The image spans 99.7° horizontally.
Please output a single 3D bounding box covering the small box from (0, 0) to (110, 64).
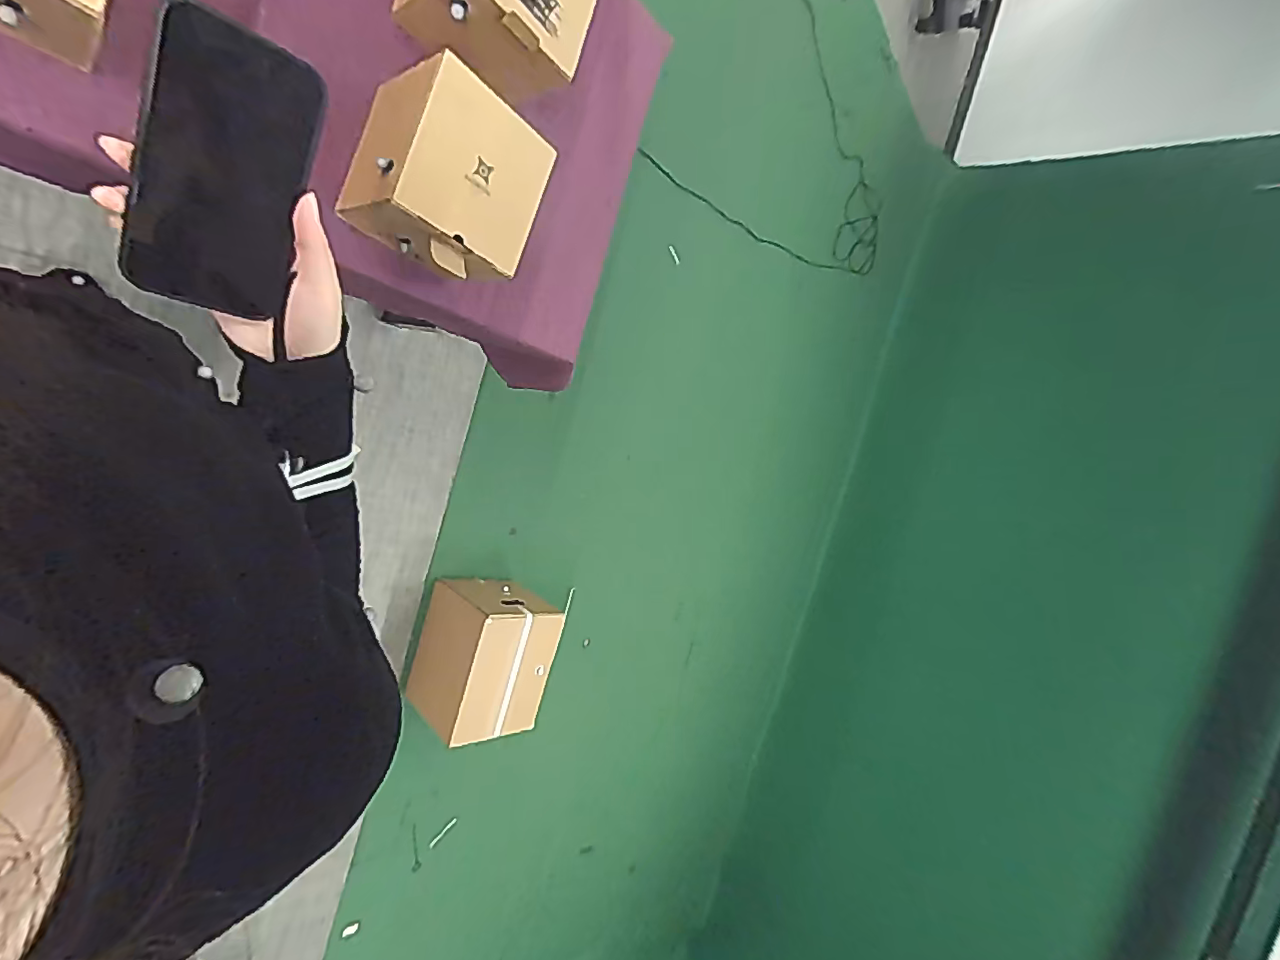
[{"bbox_3d":[-0.482,-0.450,0.385,0.168,0.176,0.179,12,94,-50],"label":"small box"}]

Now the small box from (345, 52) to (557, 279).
[{"bbox_3d":[-0.240,-0.375,0.681,0.168,0.176,0.179,20,90,-49],"label":"small box"}]
